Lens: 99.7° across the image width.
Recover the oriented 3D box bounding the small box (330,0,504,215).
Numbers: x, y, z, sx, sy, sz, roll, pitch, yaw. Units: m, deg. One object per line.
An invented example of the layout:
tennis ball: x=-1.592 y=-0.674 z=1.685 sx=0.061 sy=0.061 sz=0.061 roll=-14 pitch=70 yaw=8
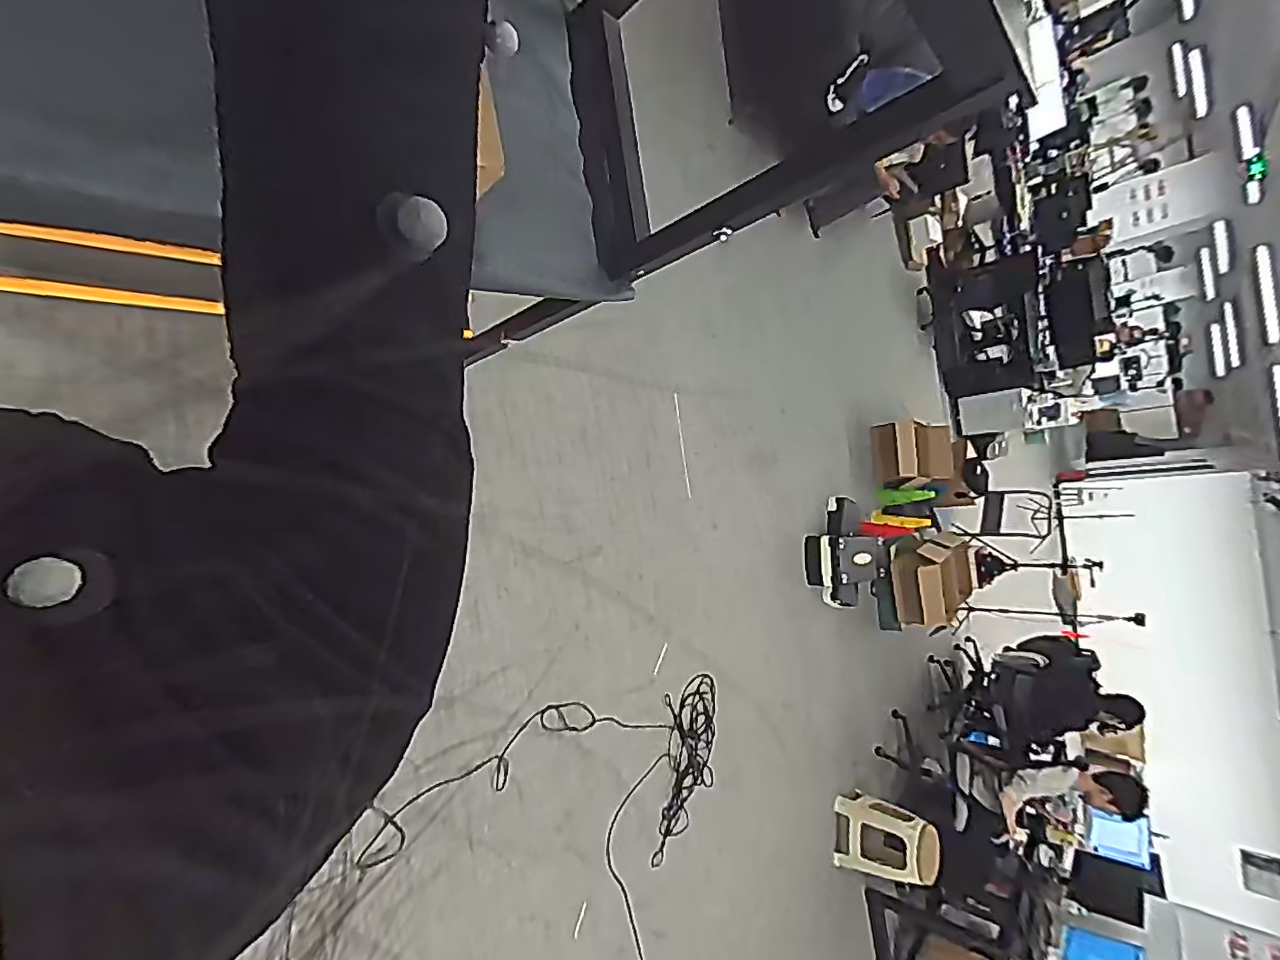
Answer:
small box: x=-0.324 y=-0.520 z=0.780 sx=0.168 sy=0.176 sz=0.179 roll=-12 pitch=92 yaw=-46
